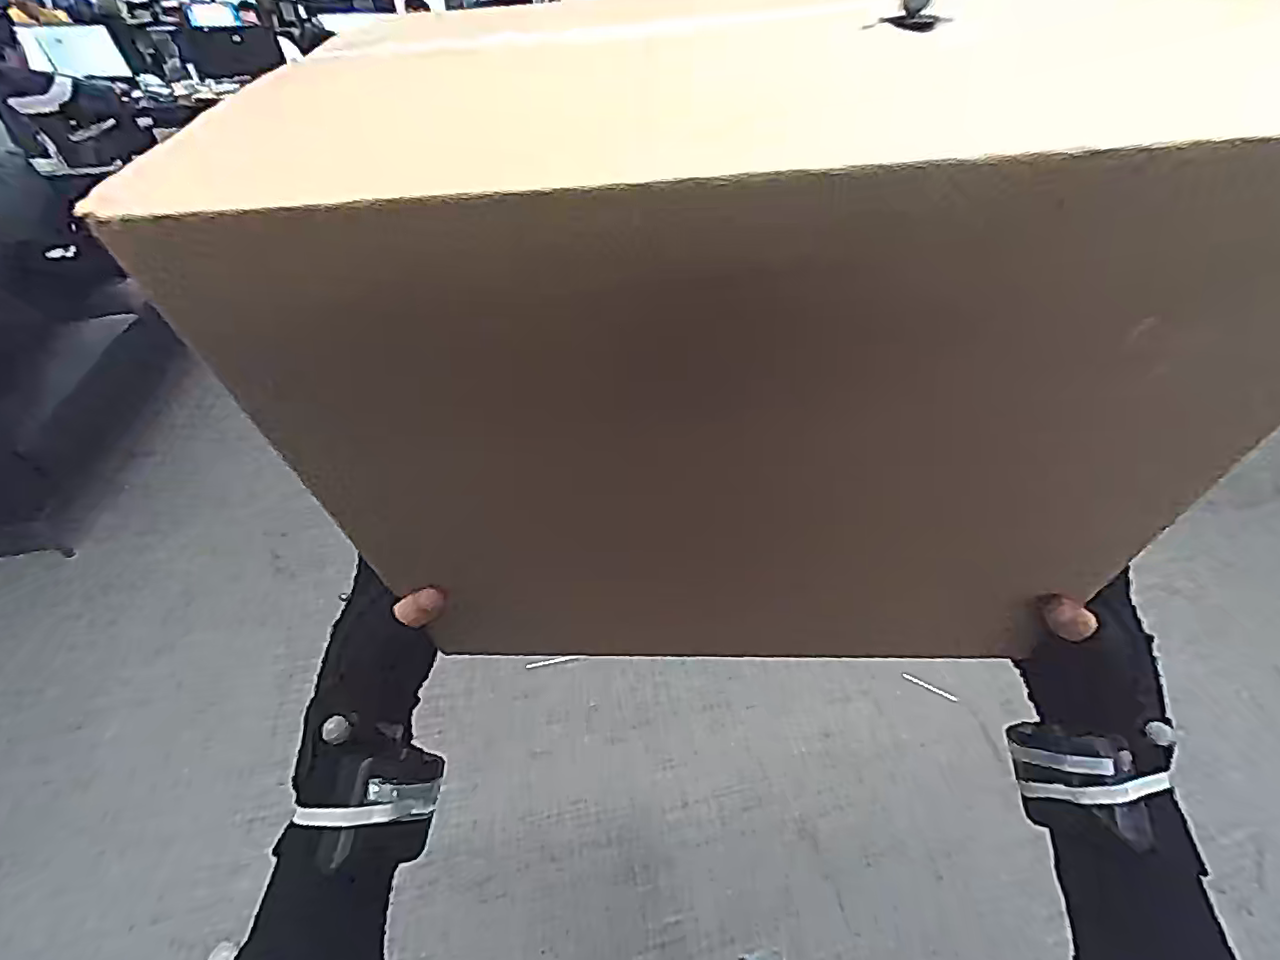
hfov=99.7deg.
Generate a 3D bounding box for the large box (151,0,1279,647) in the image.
[{"bbox_3d":[0.052,-0.097,0.367,0.408,0.320,0.320,-1,49,3],"label":"large box"}]
